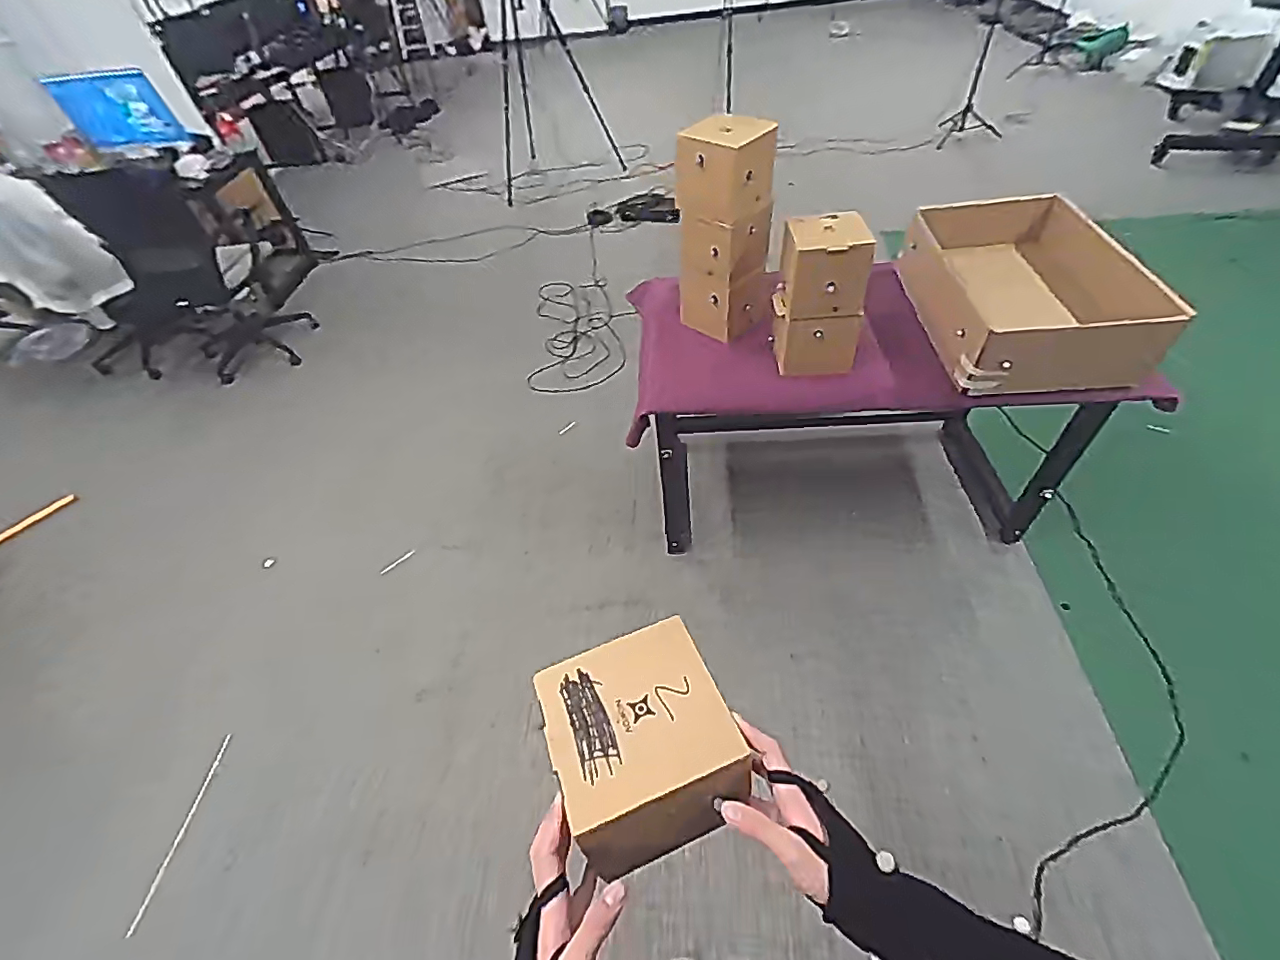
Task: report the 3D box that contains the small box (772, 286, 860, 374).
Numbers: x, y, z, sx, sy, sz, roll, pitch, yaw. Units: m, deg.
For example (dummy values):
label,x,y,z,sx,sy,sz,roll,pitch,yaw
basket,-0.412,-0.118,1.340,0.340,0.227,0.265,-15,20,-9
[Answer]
label,x,y,z,sx,sy,sz,roll,pitch,yaw
small box,0.438,-0.385,1.377,0.179,0.176,0.168,-3,48,3

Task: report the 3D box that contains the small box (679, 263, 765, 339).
label,x,y,z,sx,sy,sz,roll,pitch,yaw
small box,0.228,-0.522,1.522,0.179,0.176,0.168,35,60,30

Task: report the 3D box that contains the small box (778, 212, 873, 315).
label,x,y,z,sx,sy,sz,roll,pitch,yaw
small box,0.423,-0.497,1.259,0.168,0.176,0.179,-2,48,4

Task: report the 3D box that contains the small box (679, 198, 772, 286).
label,x,y,z,sx,sy,sz,roll,pitch,yaw
small box,0.220,-0.631,1.402,0.168,0.176,0.179,35,61,29

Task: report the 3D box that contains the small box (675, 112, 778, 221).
label,x,y,z,sx,sy,sz,roll,pitch,yaw
small box,0.203,-0.738,1.281,0.179,0.176,0.168,33,61,29
